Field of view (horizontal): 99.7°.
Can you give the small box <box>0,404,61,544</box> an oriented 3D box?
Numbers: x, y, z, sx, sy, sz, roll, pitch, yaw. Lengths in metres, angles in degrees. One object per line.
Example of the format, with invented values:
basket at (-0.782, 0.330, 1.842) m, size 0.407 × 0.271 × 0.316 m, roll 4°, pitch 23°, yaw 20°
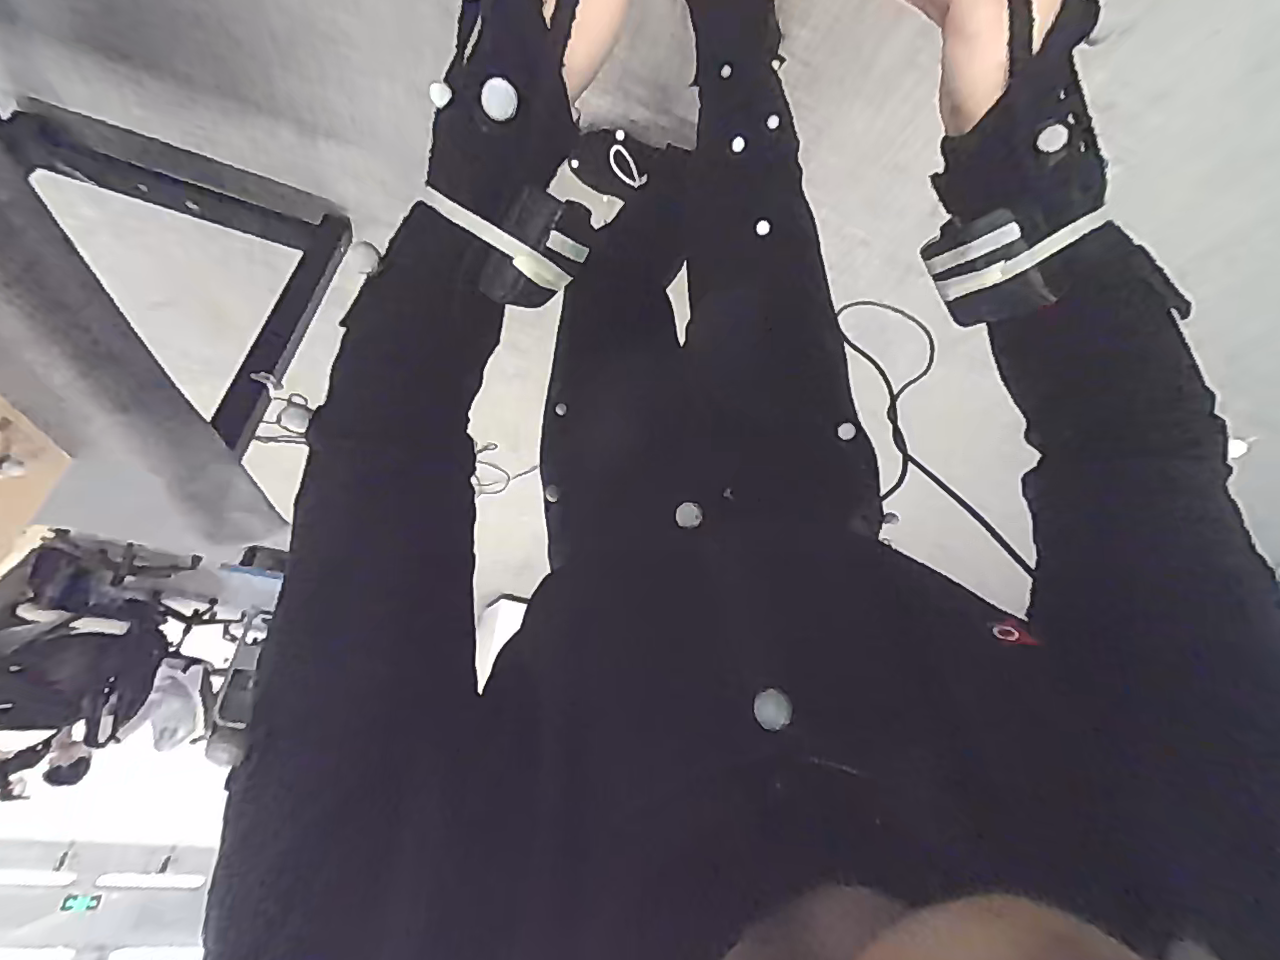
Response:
small box at (-0.691, -0.001, 0.469) m, size 0.179 × 0.176 × 0.168 m, roll 13°, pitch 150°, yaw -15°
